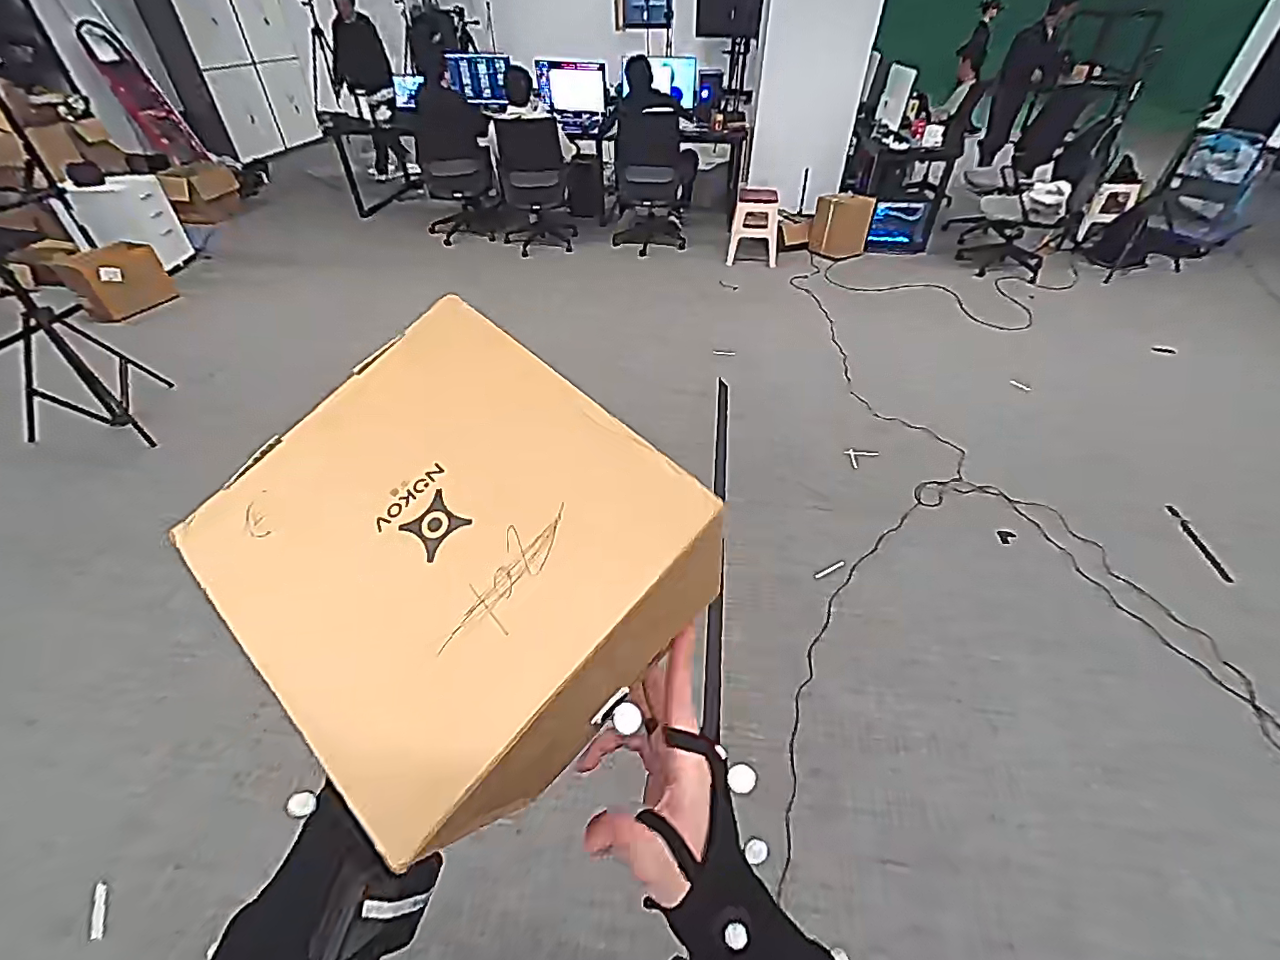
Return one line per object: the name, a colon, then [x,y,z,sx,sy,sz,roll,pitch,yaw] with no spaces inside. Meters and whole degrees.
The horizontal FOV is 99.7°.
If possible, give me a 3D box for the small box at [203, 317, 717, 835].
small box: [-0.074,0.051,0.307,0.179,0.176,0.168,37,77,20]
